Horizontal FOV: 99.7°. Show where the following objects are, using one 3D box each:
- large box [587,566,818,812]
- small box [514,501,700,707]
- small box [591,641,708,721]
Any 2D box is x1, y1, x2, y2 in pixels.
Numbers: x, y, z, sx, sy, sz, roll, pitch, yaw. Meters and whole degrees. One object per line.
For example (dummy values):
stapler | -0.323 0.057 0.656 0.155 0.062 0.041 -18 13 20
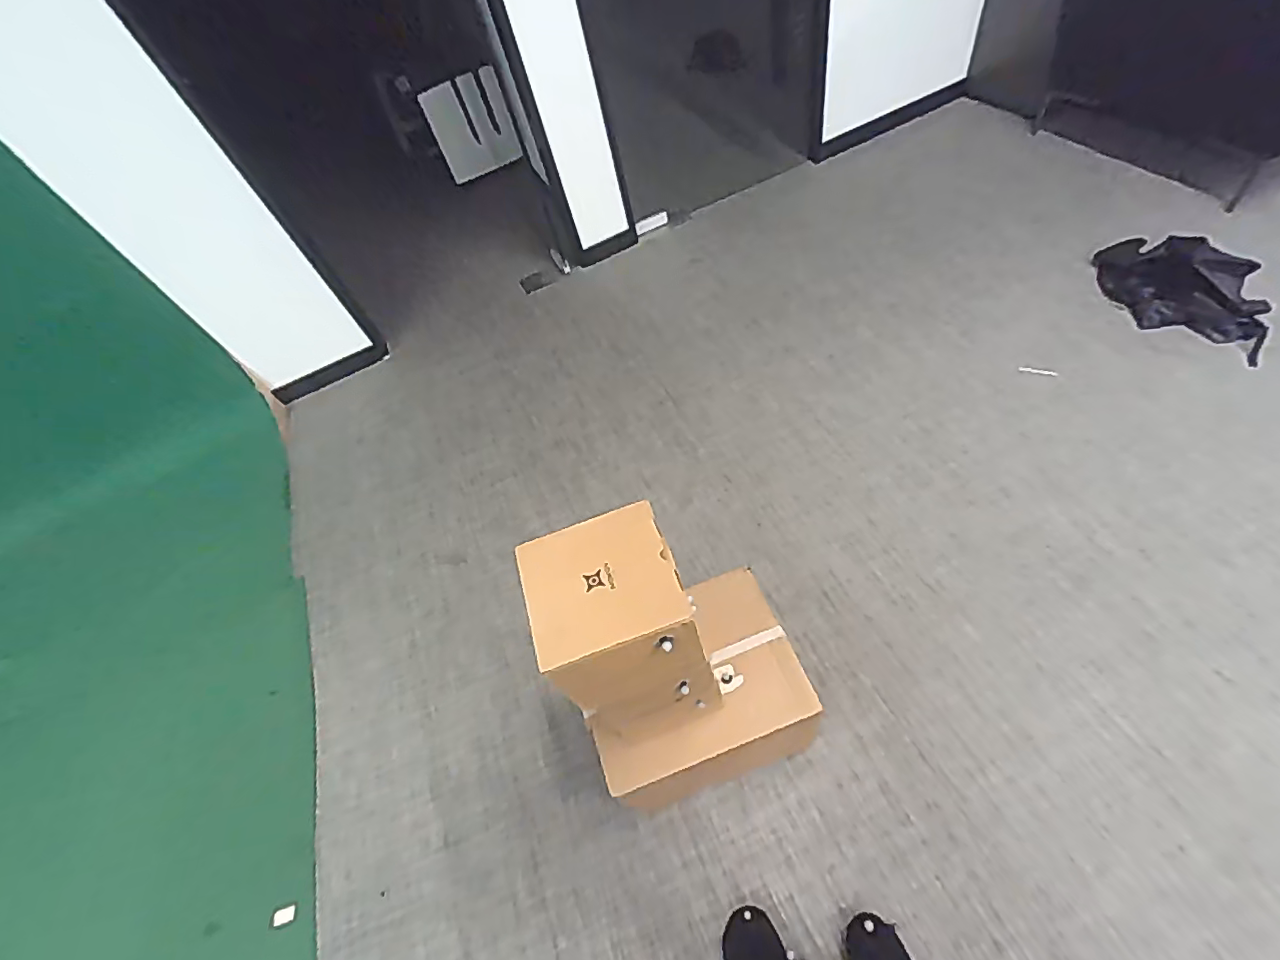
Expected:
large box | 0.110 0.450 1.149 0.408 0.320 0.320 -21 54 -3
small box | -0.036 0.161 0.677 0.179 0.176 0.168 -20 53 -3
small box | -0.005 0.243 0.815 0.168 0.176 0.179 -21 52 -4
